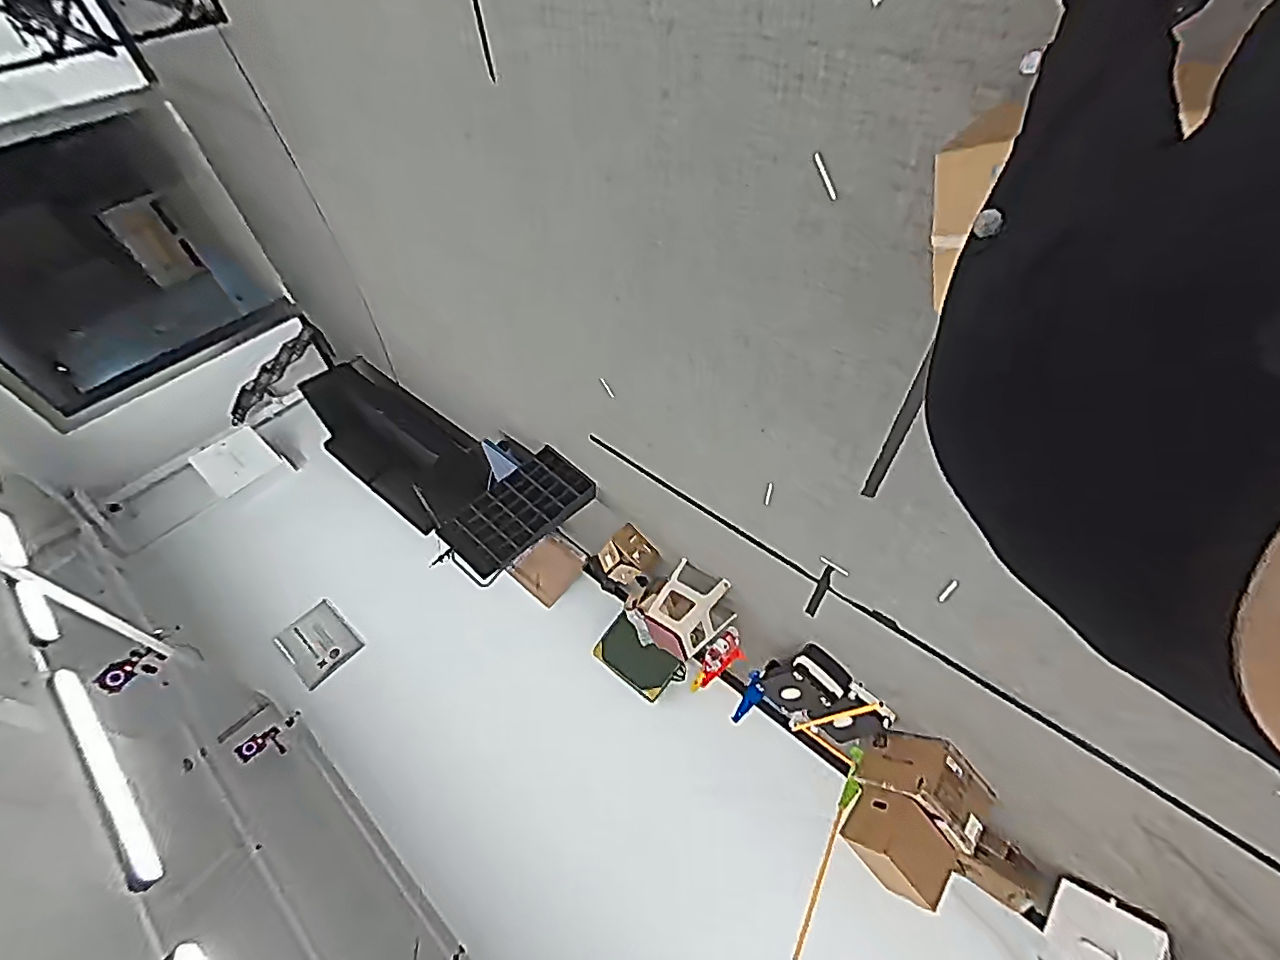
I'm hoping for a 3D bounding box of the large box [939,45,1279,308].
[{"bbox_3d":[0.825,-0.533,1.004,0.408,0.320,0.320,18,141,43],"label":"large box"}]
